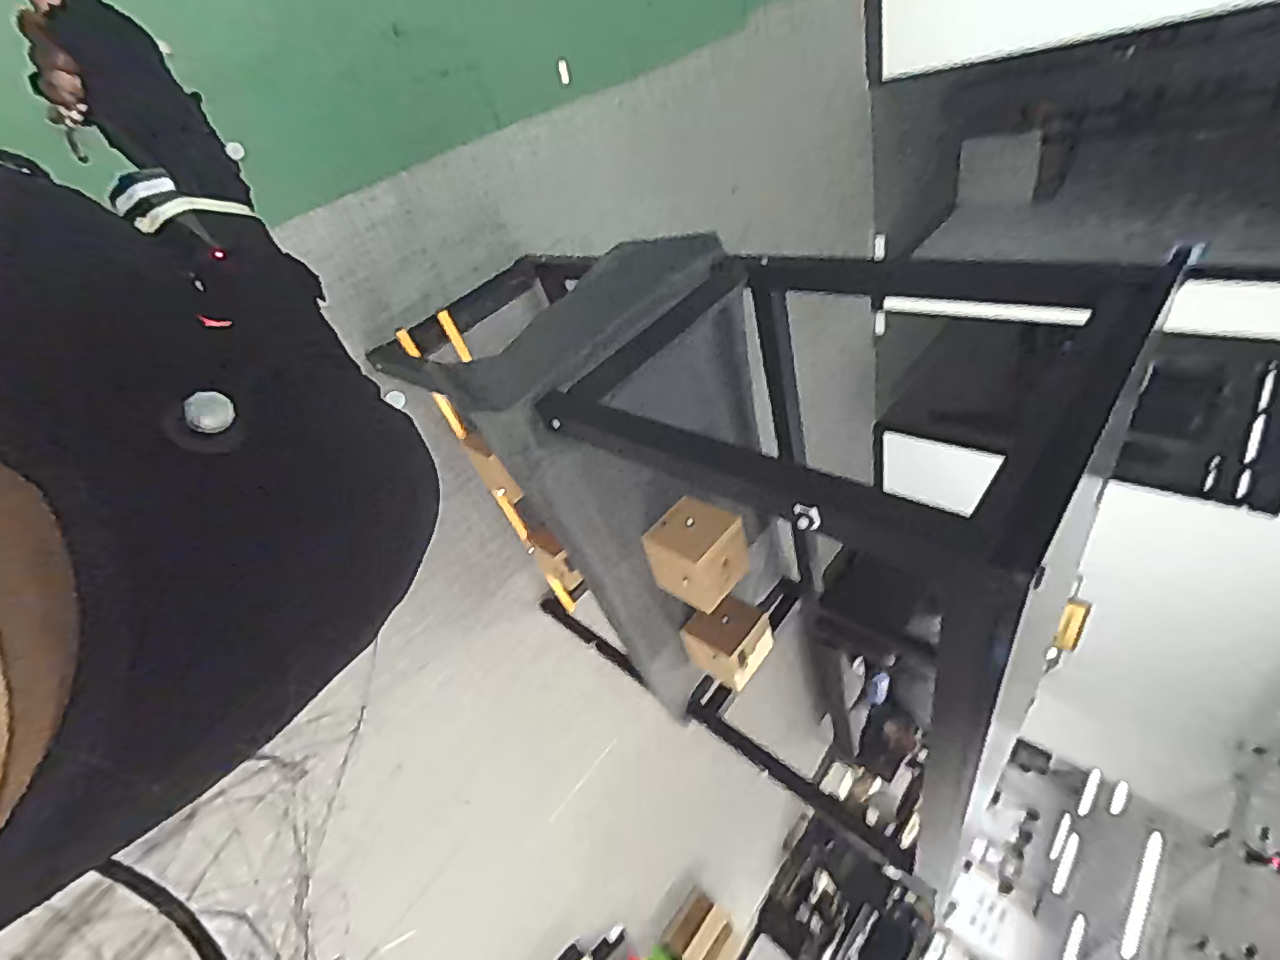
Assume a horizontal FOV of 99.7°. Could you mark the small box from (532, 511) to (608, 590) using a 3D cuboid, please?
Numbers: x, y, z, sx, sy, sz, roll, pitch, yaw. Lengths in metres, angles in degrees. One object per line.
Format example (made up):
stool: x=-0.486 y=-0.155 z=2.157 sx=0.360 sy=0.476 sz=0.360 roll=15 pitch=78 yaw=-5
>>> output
small box: x=-0.245 y=0.236 z=1.838 sx=0.179 sy=0.176 sz=0.168 roll=-41 pitch=133 yaw=-28

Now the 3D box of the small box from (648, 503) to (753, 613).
small box: x=0.141 y=0.172 z=1.273 sx=0.168 sy=0.176 sz=0.179 roll=-41 pitch=133 yaw=-28
